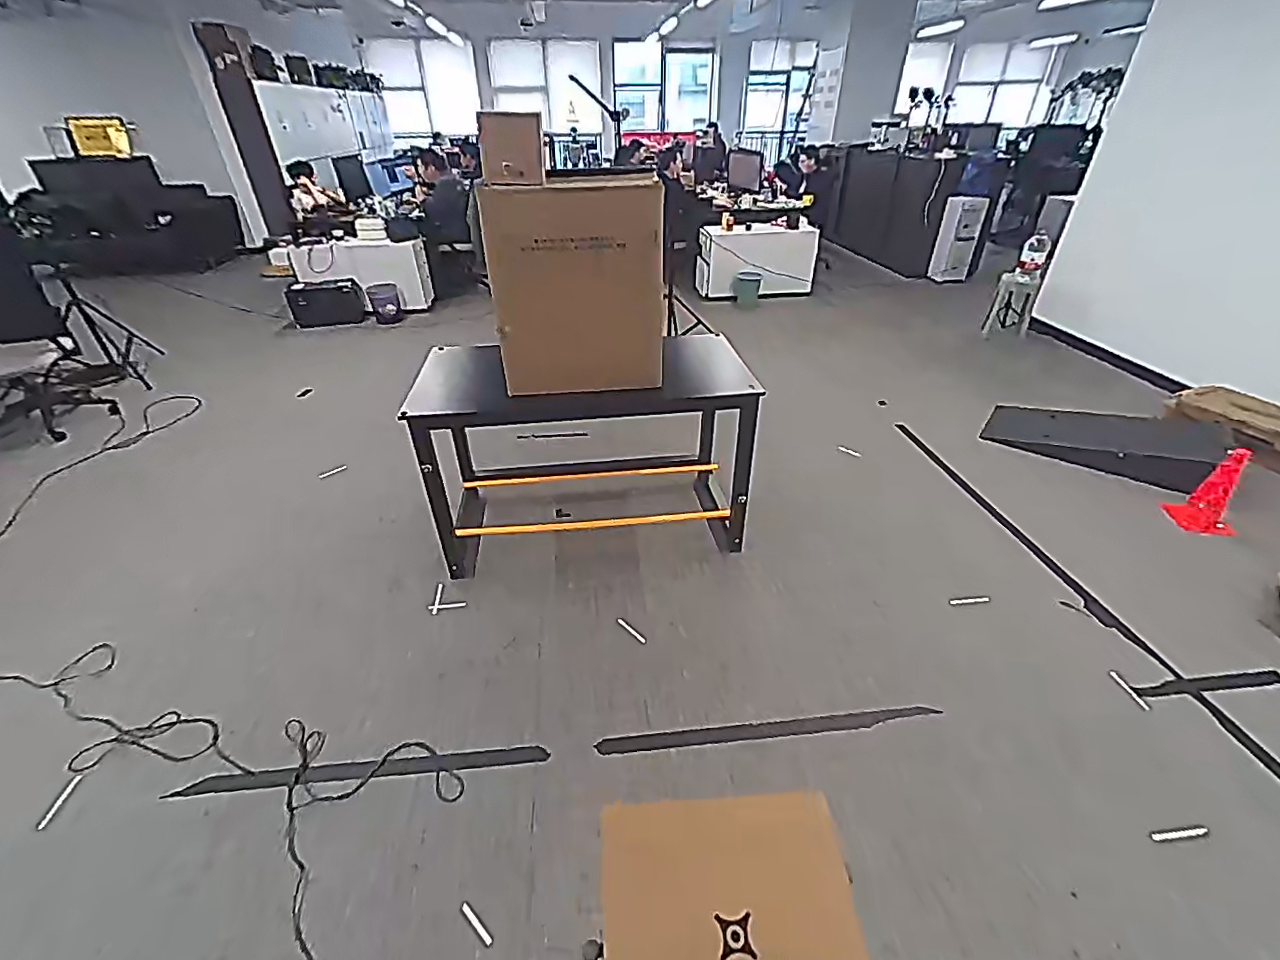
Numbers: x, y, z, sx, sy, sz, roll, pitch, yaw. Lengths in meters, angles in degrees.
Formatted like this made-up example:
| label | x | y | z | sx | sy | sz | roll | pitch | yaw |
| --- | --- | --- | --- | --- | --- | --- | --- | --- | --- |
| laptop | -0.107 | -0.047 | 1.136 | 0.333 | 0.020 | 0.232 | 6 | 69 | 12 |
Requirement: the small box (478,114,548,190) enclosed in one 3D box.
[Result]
| label | x | y | z | sx | sy | sz | roll | pitch | yaw |
| --- | --- | --- | --- | --- | --- | --- | --- | --- | --- |
| small box | -0.350 | -0.922 | 1.516 | 0.168 | 0.176 | 0.179 | -3 | 36 | -7 |

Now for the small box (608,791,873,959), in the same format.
| label | x | y | z | sx | sy | sz | roll | pitch | yaw |
| --- | --- | --- | --- | --- | --- | --- | --- | --- | --- |
| small box | 0.060 | 0.350 | 0.390 | 0.168 | 0.176 | 0.179 | -2 | 44 | -2 |
